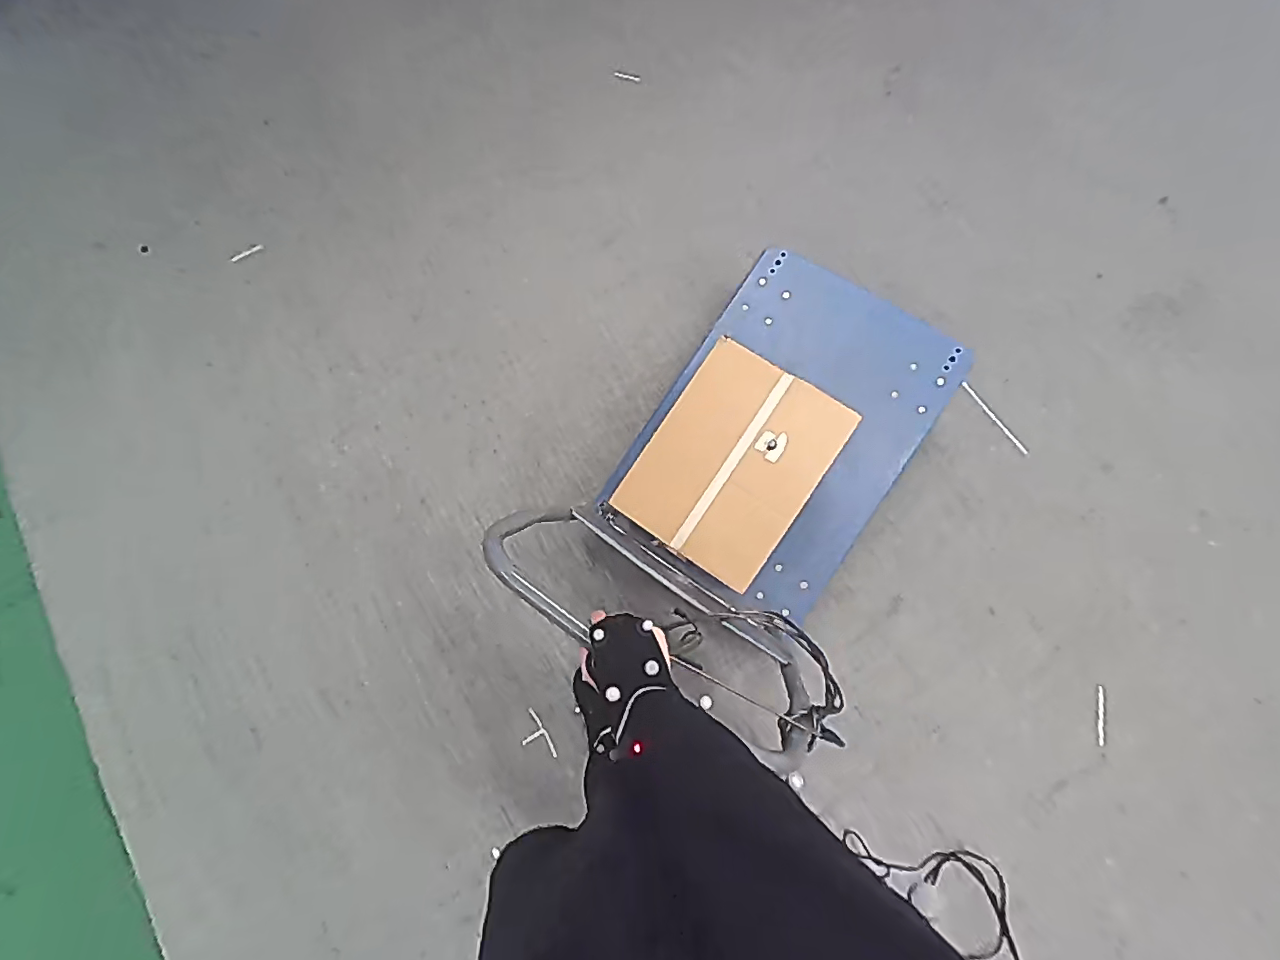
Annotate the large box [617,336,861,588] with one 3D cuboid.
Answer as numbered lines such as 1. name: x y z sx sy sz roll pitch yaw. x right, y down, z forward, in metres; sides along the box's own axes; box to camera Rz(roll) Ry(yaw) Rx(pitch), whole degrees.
1. large box: 0.207 -0.020 1.182 0.320 0.320 0.408 35 89 11
